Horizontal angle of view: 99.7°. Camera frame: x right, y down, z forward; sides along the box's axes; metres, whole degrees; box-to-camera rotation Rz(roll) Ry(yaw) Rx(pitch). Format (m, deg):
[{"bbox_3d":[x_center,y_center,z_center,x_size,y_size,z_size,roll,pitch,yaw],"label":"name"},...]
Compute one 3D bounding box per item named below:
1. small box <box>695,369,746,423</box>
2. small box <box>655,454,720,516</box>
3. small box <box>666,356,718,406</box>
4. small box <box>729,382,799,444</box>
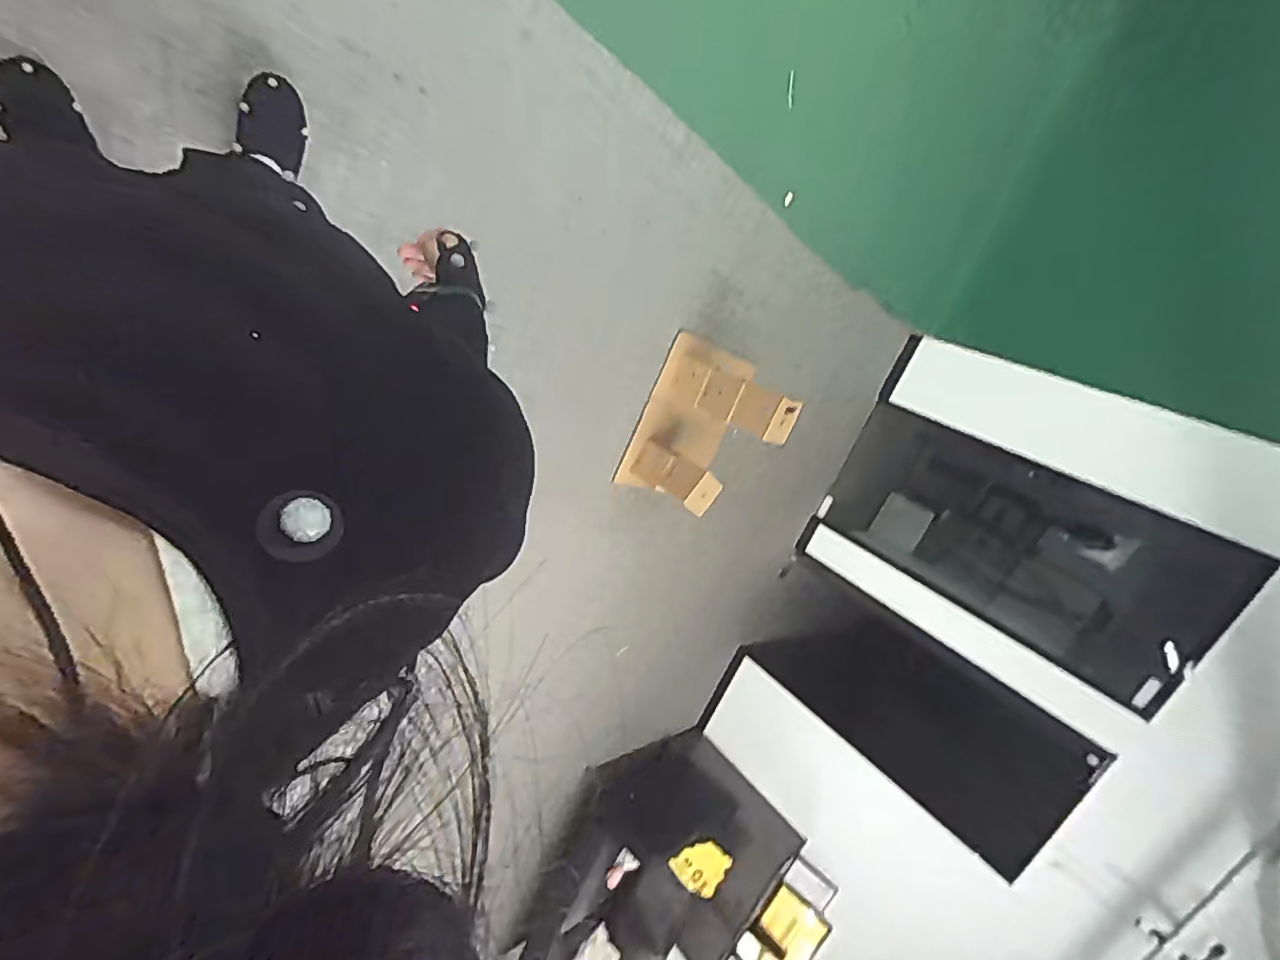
[{"bbox_3d":[0.350,-0.328,2.155,0.179,0.176,0.168,5,115,-49],"label":"small box"},{"bbox_3d":[0.196,0.017,2.256,0.168,0.176,0.179,-52,143,-1],"label":"small box"},{"bbox_3d":[0.239,-0.404,2.250,0.179,0.176,0.168,4,115,-49],"label":"small box"},{"bbox_3d":[0.467,-0.258,2.062,0.168,0.176,0.179,3,116,-48],"label":"small box"}]
